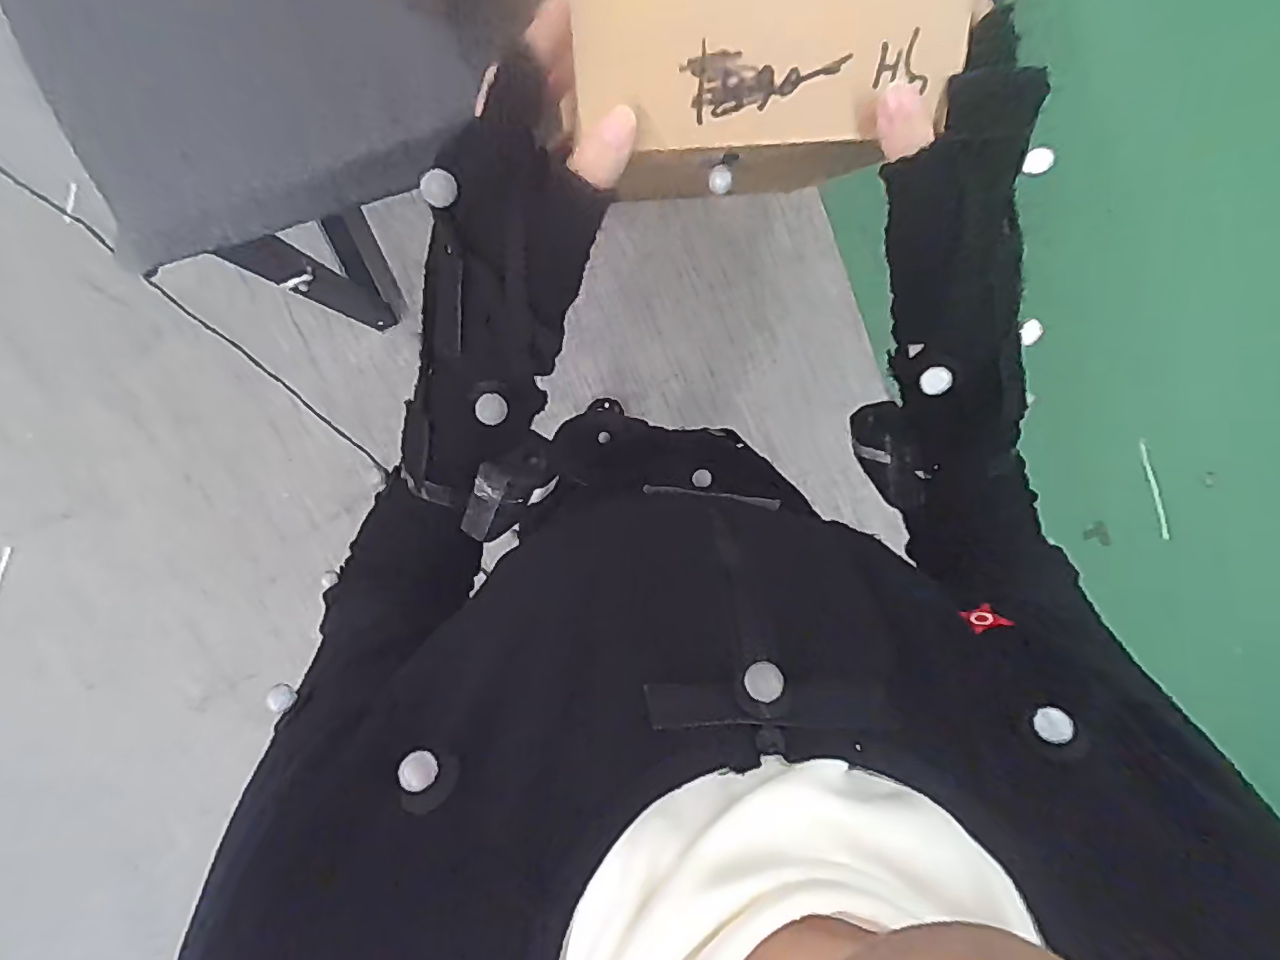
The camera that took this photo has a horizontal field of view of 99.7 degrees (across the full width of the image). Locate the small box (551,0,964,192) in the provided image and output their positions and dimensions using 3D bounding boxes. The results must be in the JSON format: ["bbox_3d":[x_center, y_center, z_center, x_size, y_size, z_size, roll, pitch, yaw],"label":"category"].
[{"bbox_3d":[0.039,-0.260,0.274,0.168,0.176,0.179,-6,111,-6],"label":"small box"}]
